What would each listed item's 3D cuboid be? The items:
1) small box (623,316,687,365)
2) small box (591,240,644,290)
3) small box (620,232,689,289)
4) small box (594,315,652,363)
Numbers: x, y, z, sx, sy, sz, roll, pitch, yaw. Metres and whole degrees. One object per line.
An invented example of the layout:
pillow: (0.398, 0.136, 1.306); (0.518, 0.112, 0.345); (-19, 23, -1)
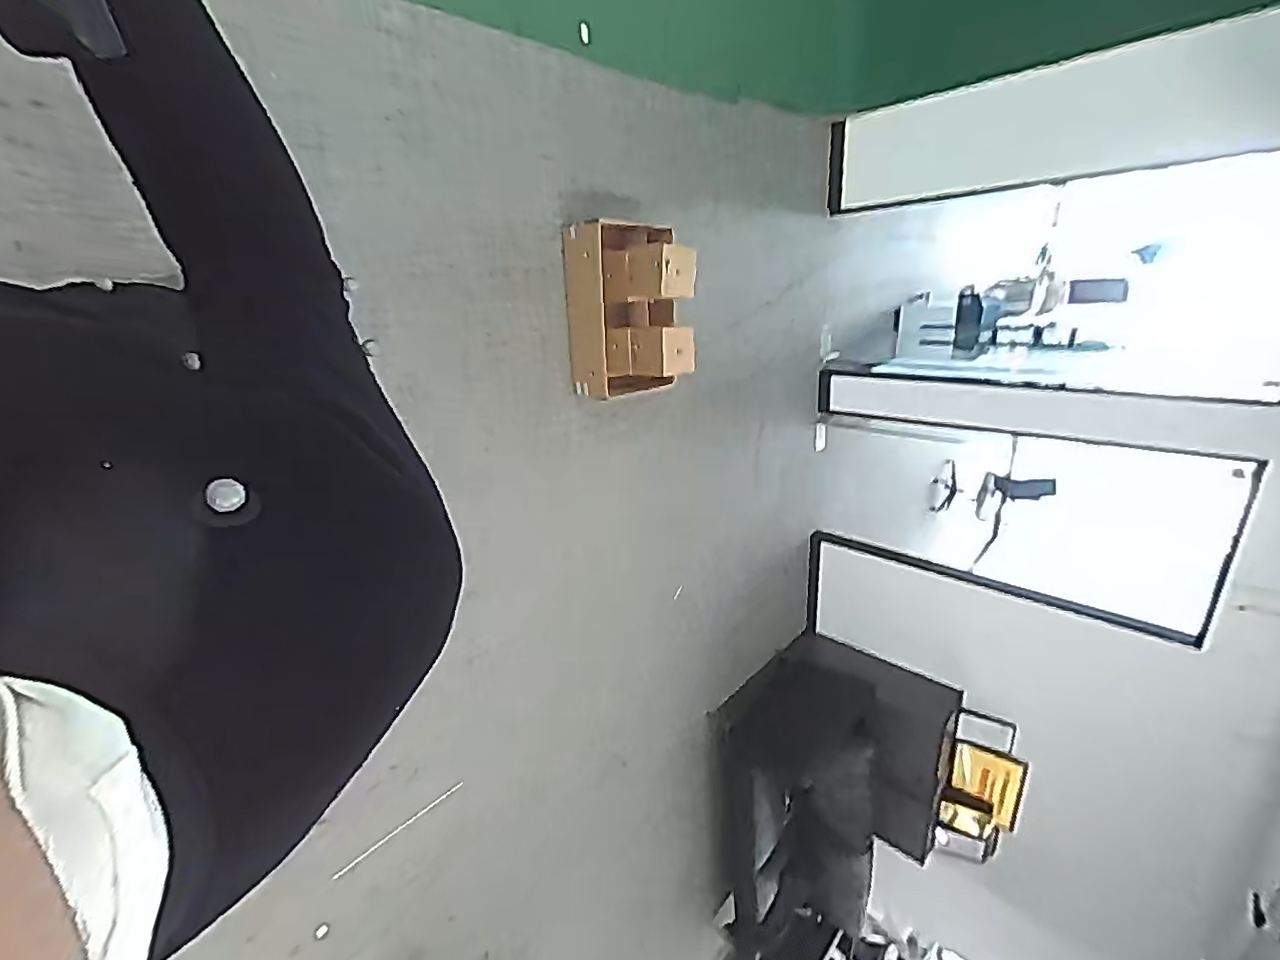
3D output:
small box: (0.056, -0.520, 1.995); (0.179, 0.176, 0.168); (-19, 114, -43)
small box: (-0.071, -0.797, 2.010); (0.179, 0.176, 0.168); (-22, 120, -42)
small box: (0.050, -0.766, 1.902); (0.179, 0.176, 0.168); (-15, 113, -46)
small box: (-0.065, -0.550, 2.100); (0.179, 0.176, 0.168); (-22, 118, -42)
